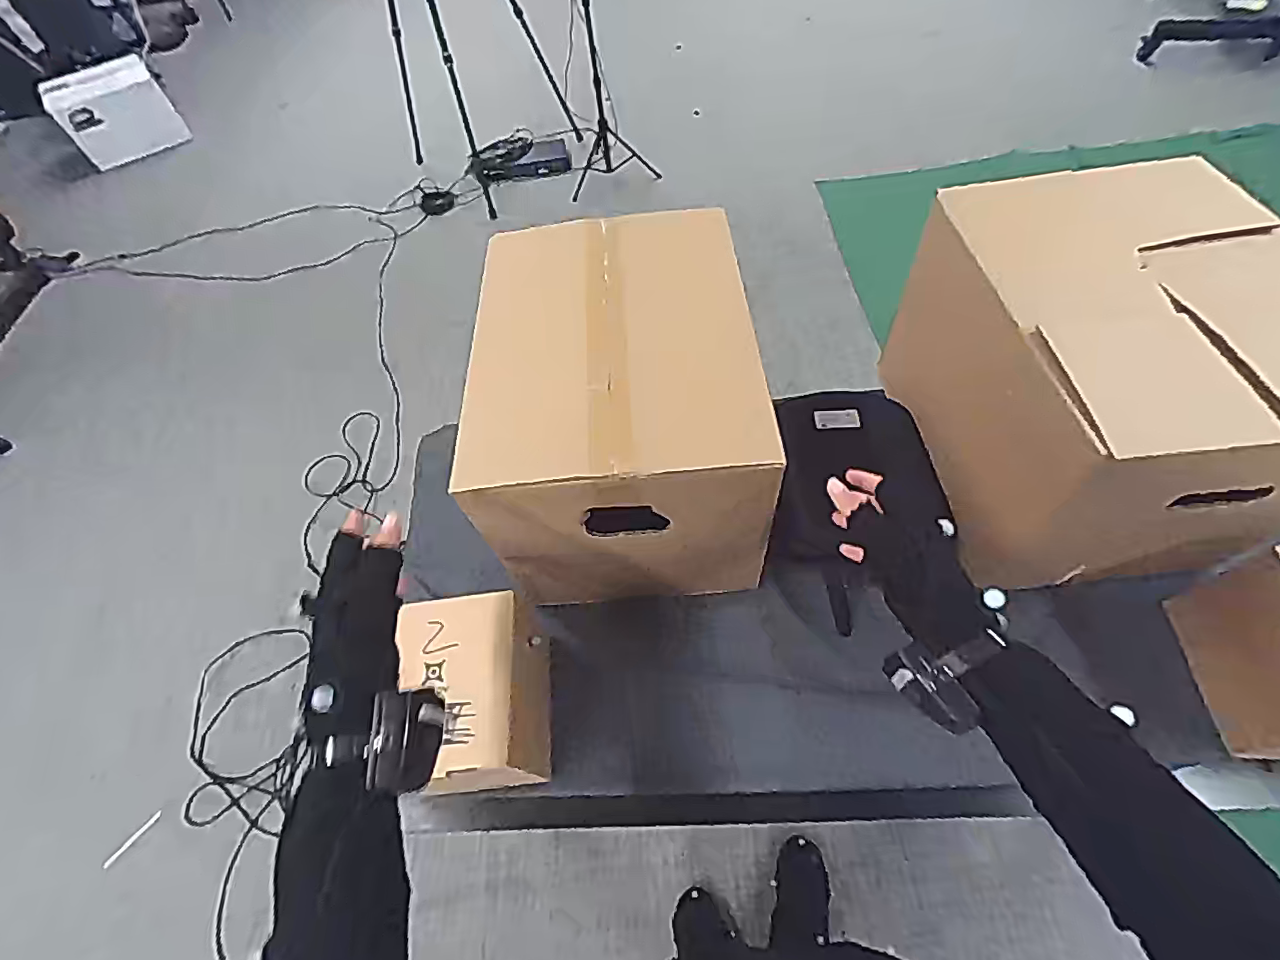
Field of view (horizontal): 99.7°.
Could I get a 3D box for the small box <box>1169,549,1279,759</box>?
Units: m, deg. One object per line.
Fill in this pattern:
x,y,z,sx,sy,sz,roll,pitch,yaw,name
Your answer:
0.711,0.183,0.550,0.168,0.176,0.179,-1,60,8,small box
